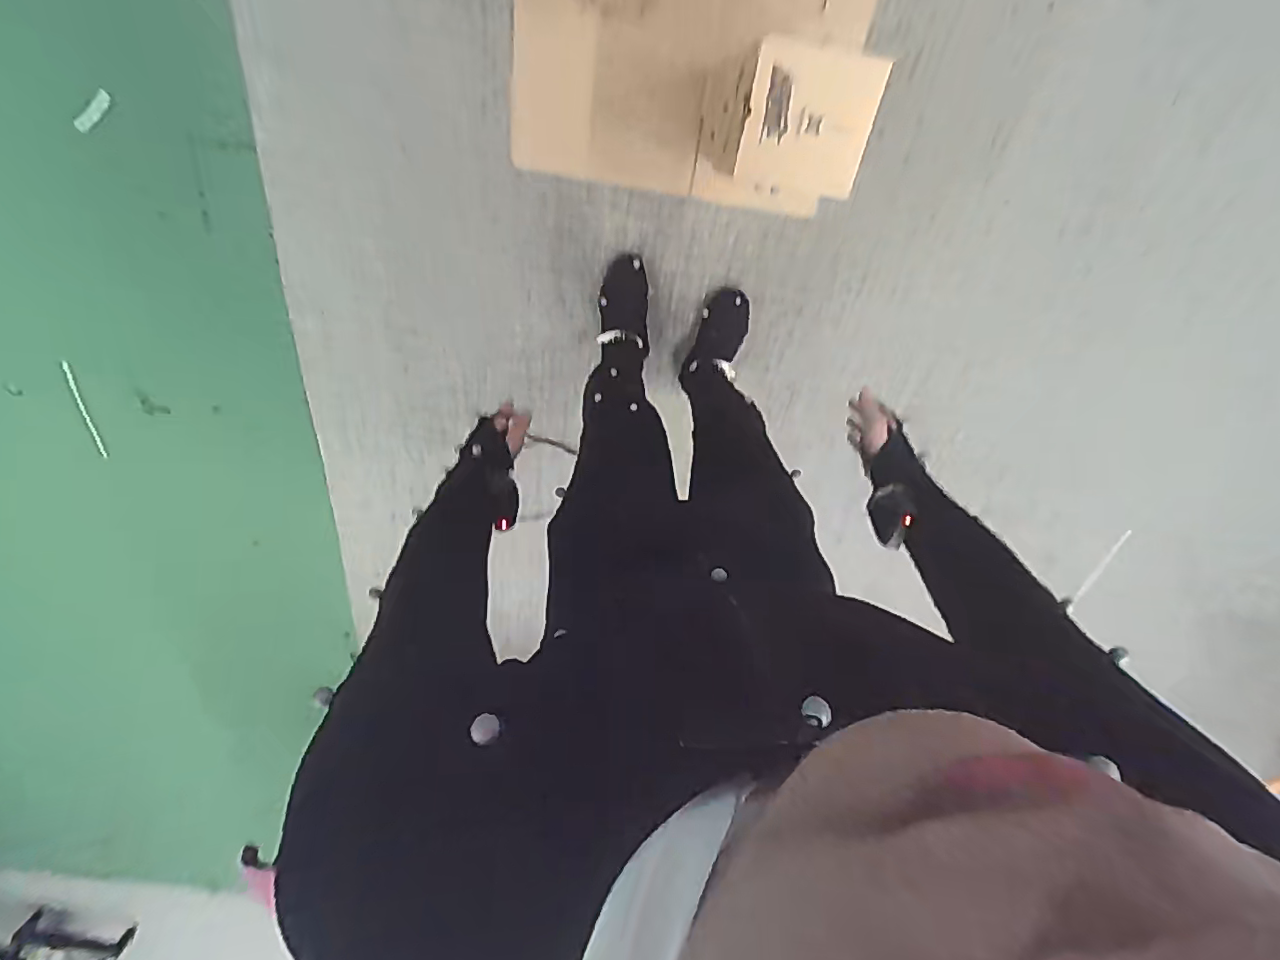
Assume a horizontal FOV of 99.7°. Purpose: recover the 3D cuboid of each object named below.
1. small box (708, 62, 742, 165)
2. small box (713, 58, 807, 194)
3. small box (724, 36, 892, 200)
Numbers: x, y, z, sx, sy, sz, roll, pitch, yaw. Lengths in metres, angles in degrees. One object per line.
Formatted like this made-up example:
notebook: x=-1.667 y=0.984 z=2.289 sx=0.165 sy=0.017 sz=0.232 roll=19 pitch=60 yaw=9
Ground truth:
small box: x=0.238 y=-0.705 z=1.077 sx=0.179 sy=0.176 sz=0.168 roll=9 pitch=122 yaw=-4
small box: x=0.233 y=-0.613 z=0.944 sx=0.179 sy=0.176 sz=0.168 roll=9 pitch=123 yaw=-2
small box: x=0.231 y=-0.528 z=0.803 sx=0.179 sy=0.176 sz=0.168 roll=9 pitch=123 yaw=-3
